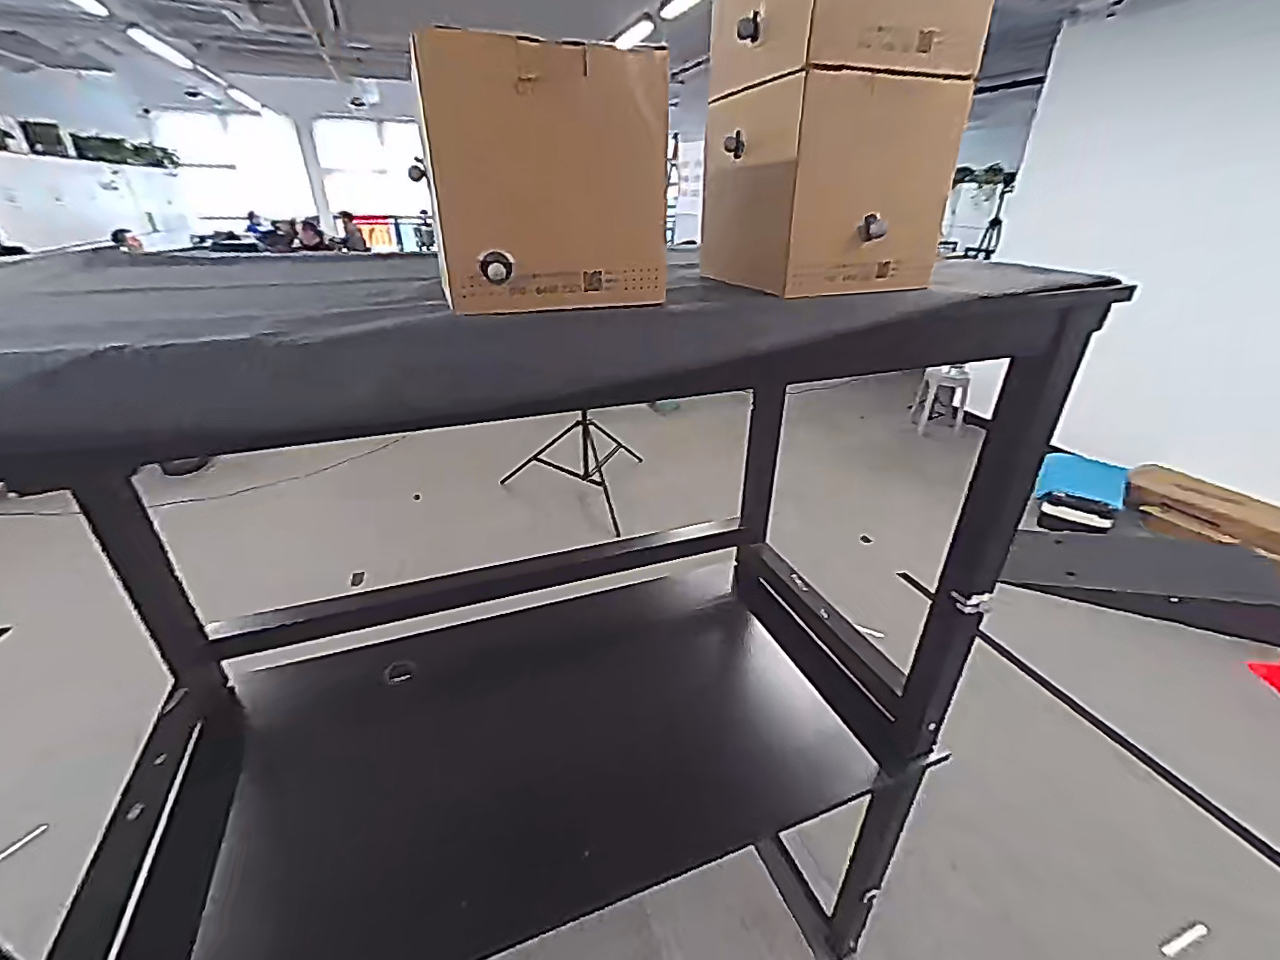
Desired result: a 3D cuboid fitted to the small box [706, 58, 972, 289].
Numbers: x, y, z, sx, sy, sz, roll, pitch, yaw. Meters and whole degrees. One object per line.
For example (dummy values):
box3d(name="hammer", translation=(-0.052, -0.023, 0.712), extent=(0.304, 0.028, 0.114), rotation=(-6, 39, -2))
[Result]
box3d(name="small box", translation=(0.172, -0.285, 0.531), extent=(0.168, 0.176, 0.179), rotation=(-10, 29, -17))

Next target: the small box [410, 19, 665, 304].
box3d(name="small box", translation=(-0.085, -0.240, 0.443), extent=(0.168, 0.176, 0.179), rotation=(-10, 27, -19))

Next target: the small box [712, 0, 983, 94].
box3d(name="small box", translation=(0.172, -0.432, 0.457), extent=(0.168, 0.176, 0.179), rotation=(-9, 29, -17))
